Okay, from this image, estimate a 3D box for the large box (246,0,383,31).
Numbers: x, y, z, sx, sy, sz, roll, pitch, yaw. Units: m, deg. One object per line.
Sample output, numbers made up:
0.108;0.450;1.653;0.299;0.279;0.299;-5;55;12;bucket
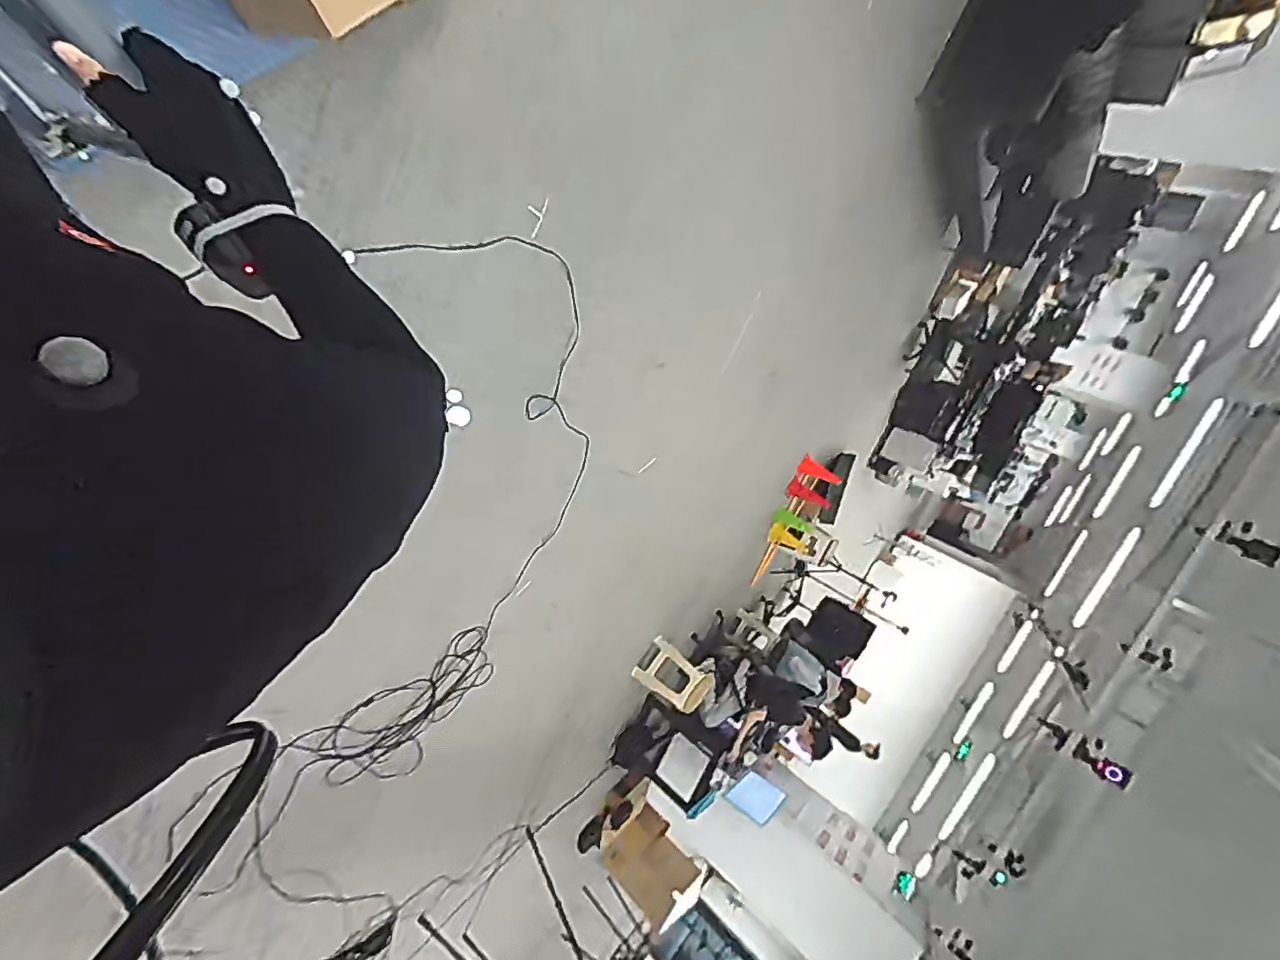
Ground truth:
-0.497;-0.920;0.729;0.320;0.320;0.408;-50;147;-16;large box
